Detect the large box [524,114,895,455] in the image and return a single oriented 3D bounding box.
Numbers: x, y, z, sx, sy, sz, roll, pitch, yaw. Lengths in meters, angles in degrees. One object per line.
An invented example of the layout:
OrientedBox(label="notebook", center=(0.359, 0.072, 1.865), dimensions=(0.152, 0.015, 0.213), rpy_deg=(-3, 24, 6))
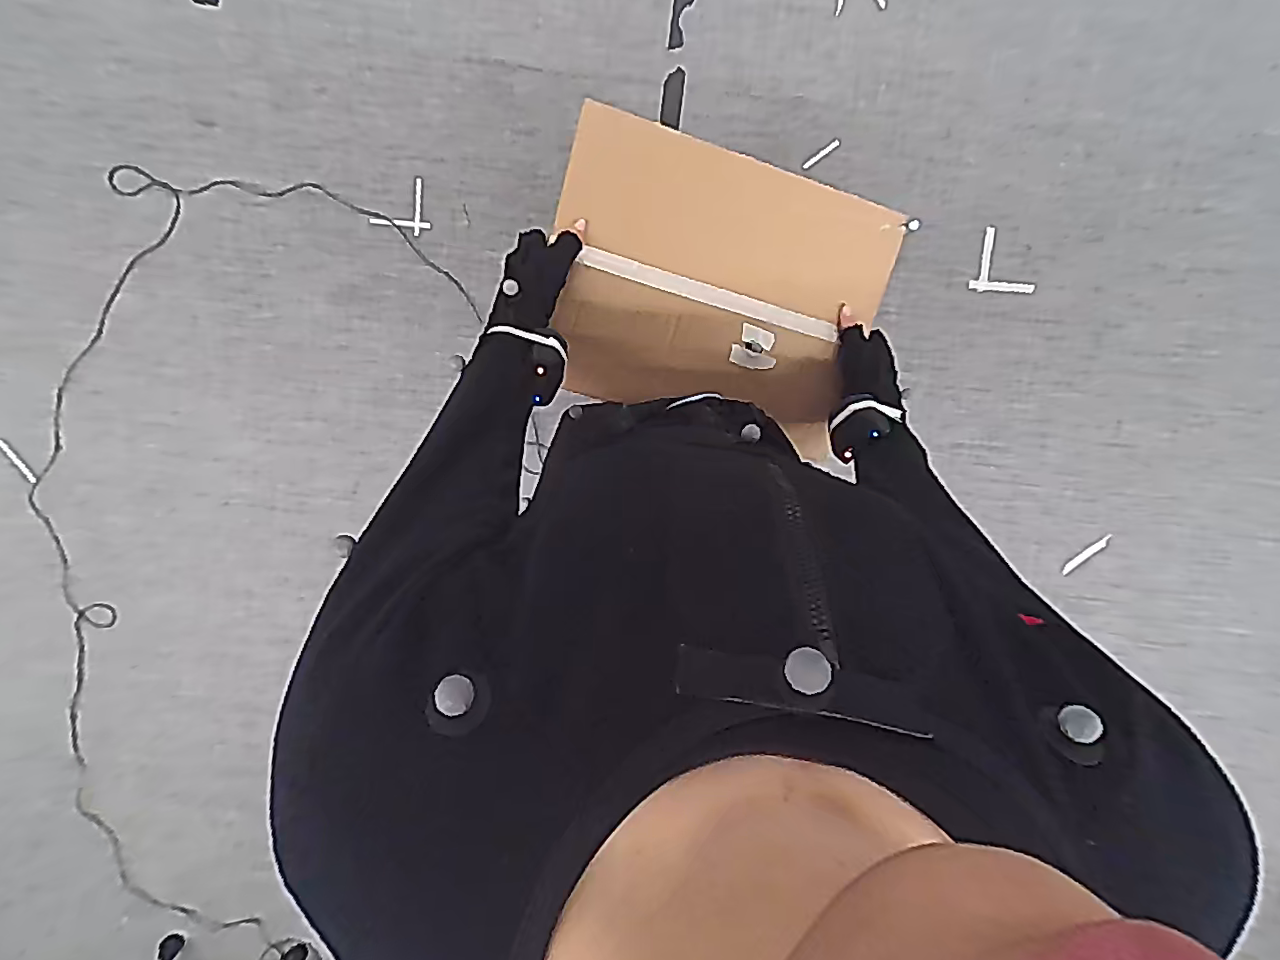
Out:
OrientedBox(label="large box", center=(0.070, -0.255, 0.806), dimensions=(0.408, 0.320, 0.320), rpy_deg=(15, 102, -9))
